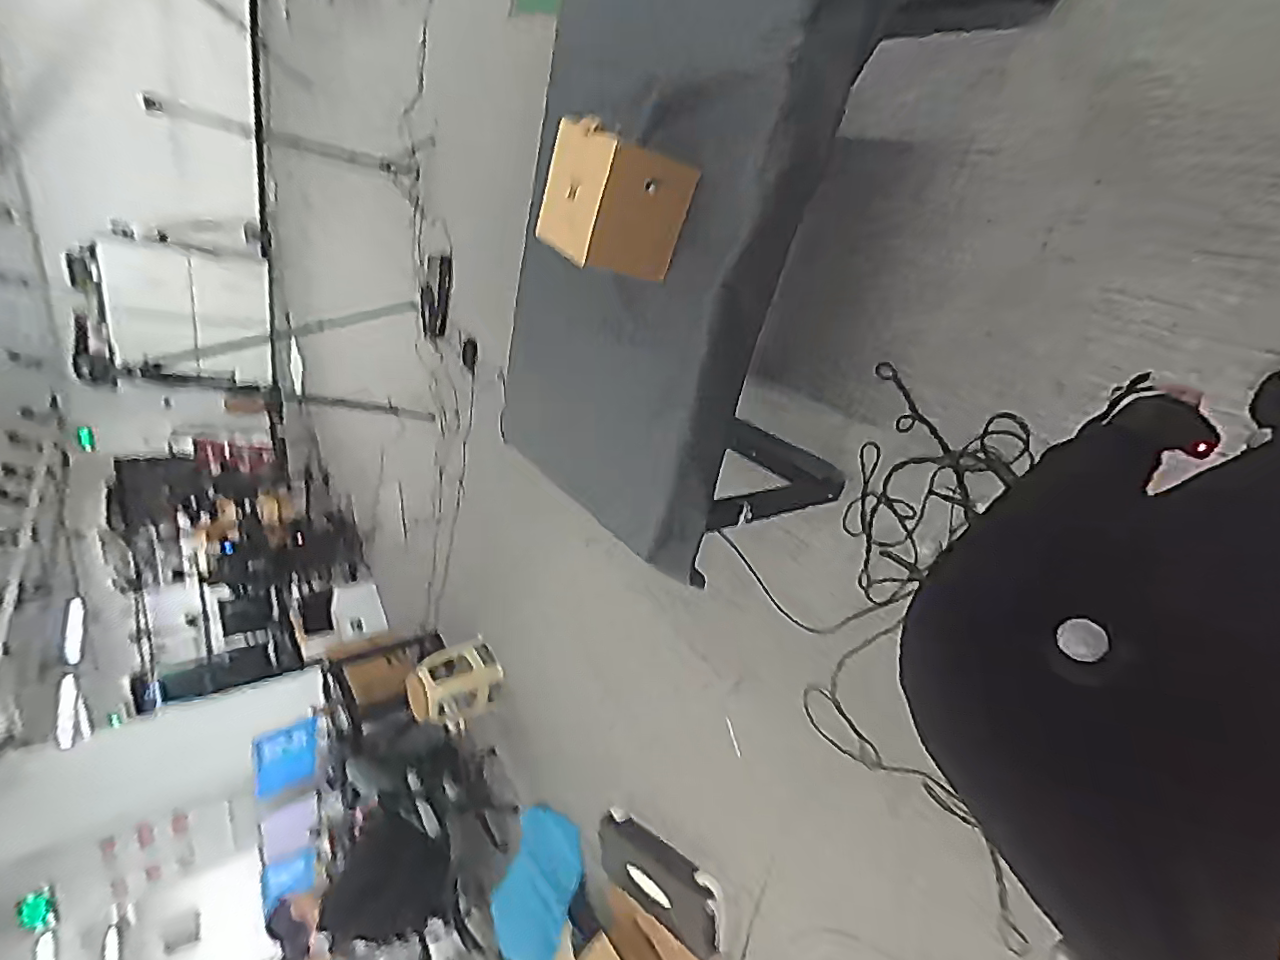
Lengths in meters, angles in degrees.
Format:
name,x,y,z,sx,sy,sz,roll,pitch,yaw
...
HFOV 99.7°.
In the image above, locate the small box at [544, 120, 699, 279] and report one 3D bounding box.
name,x,y,z,sx,sy,sz,roll,pitch,yaw
small box,-0.029,-0.447,0.878,0.168,0.176,0.179,46,129,37
